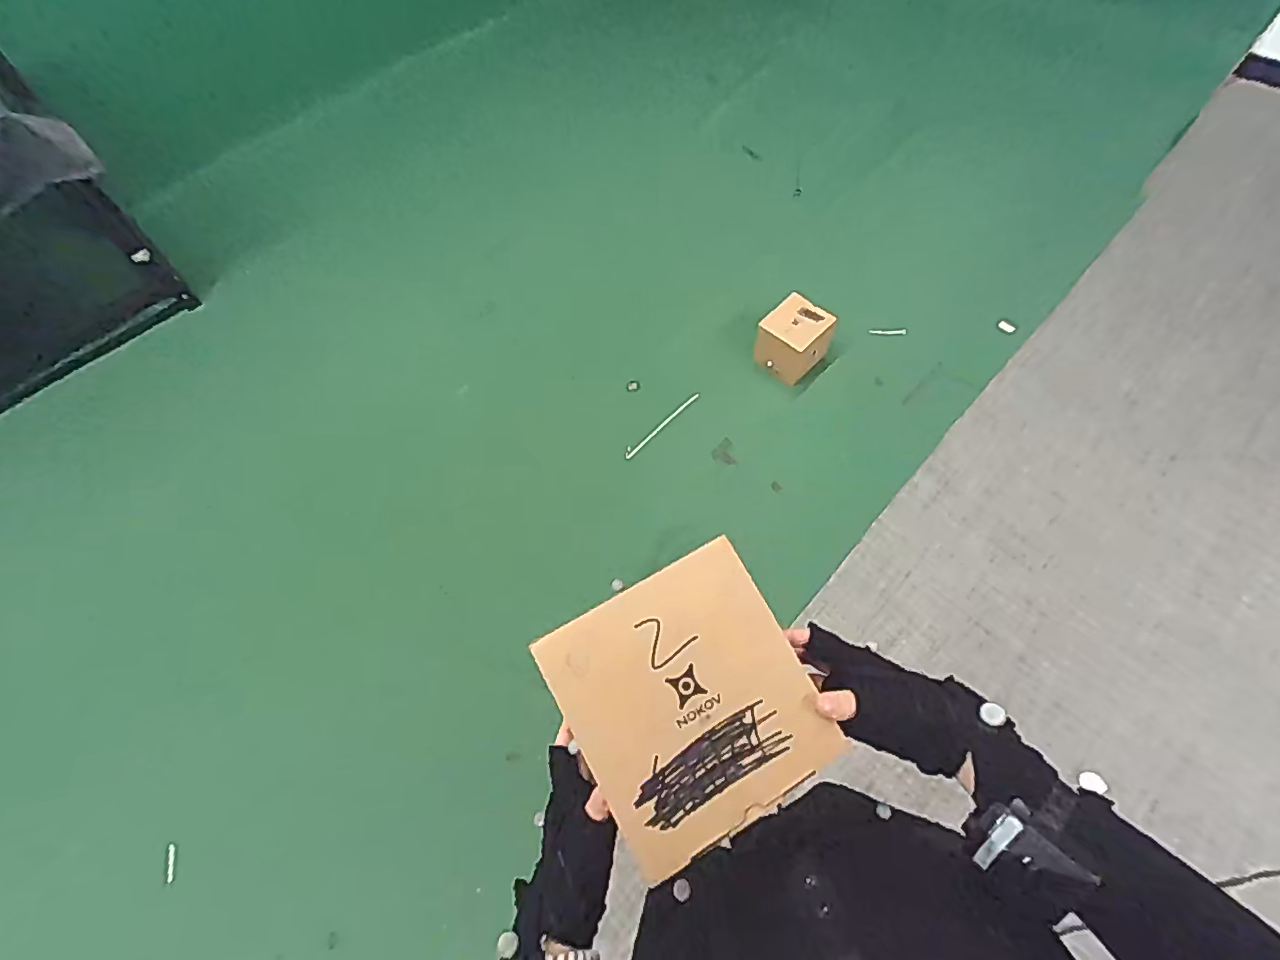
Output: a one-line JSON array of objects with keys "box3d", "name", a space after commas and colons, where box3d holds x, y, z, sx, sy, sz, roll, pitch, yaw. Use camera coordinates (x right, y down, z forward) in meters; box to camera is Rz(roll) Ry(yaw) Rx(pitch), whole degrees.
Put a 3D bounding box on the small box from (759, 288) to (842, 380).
[{"box3d": [0.485, -0.449, 1.672, 0.179, 0.176, 0.168, -42, 68, -15], "name": "small box"}]
